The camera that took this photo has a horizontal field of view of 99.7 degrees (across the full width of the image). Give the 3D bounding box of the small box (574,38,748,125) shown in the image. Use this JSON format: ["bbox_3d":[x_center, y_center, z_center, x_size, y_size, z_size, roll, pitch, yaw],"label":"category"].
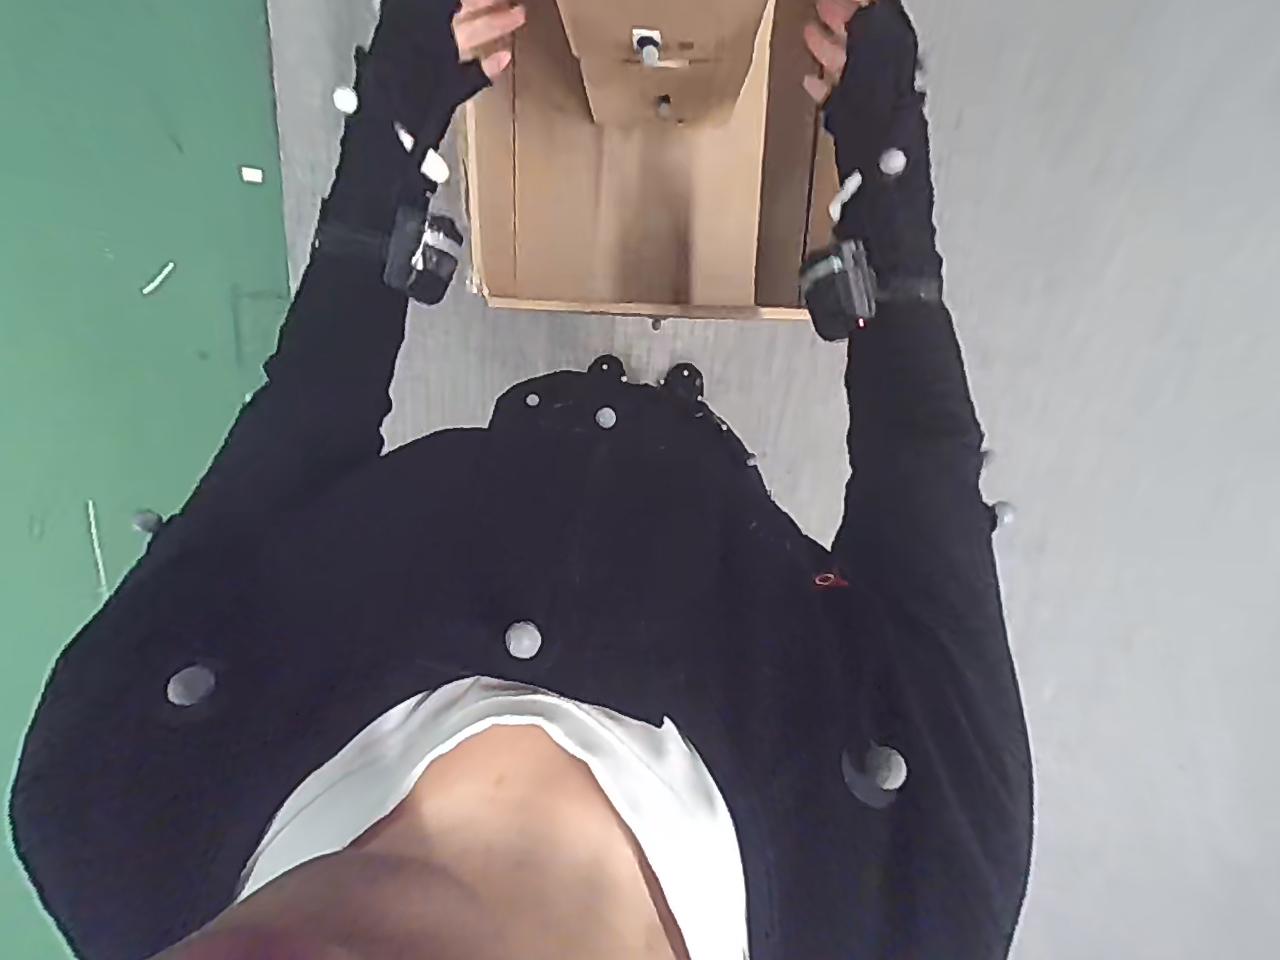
[{"bbox_3d":[0.026,-0.493,0.558,0.168,0.176,0.179,2,105,0],"label":"small box"}]

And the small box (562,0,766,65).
[{"bbox_3d":[0.018,-0.451,0.400,0.168,0.176,0.179,2,105,2],"label":"small box"}]
